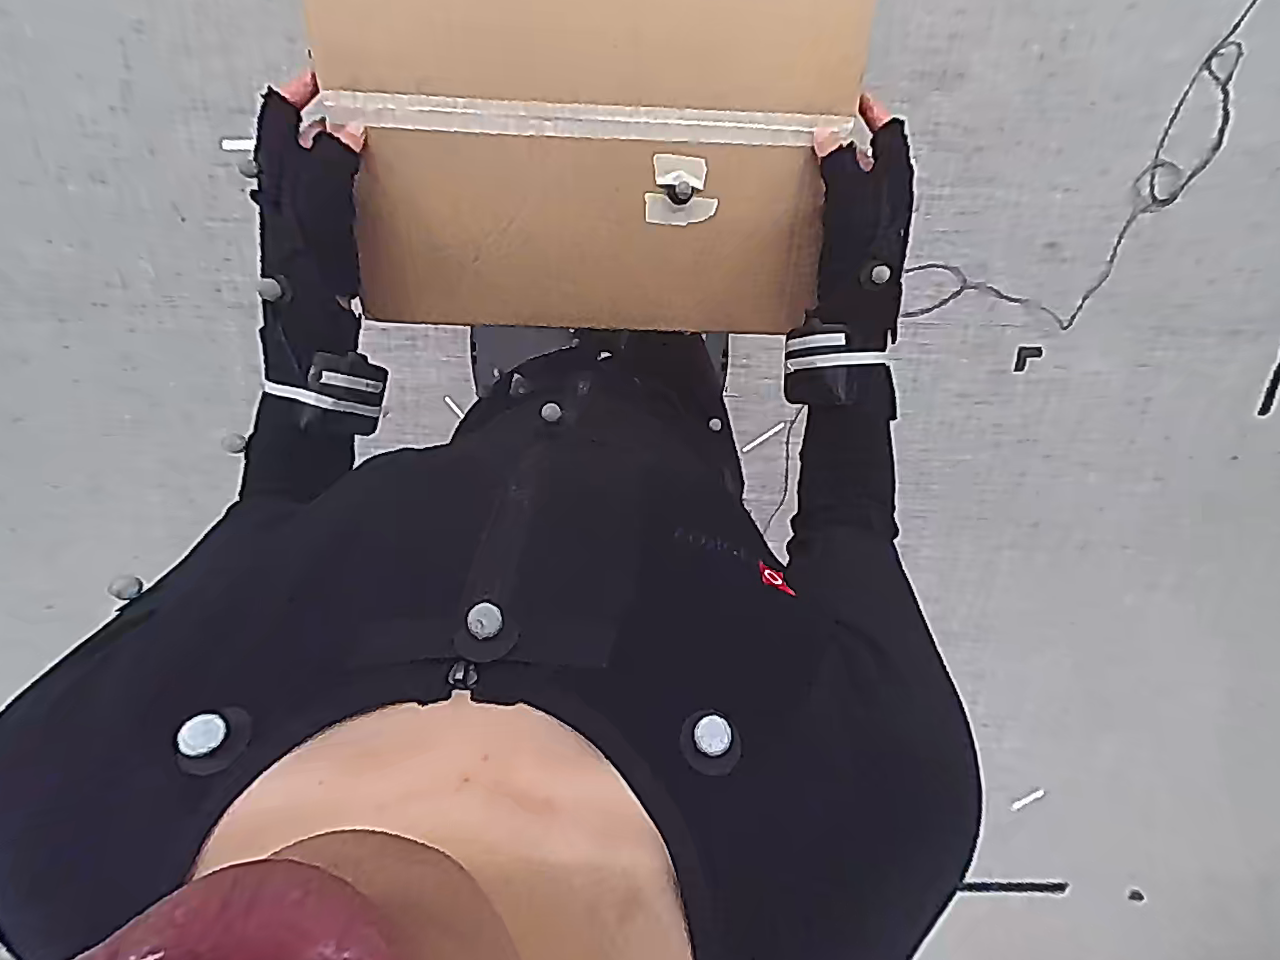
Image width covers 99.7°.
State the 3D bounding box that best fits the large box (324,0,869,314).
[{"bbox_3d":[-0.040,-0.355,0.554,0.408,0.320,0.320,0,117,-4],"label":"large box"}]
